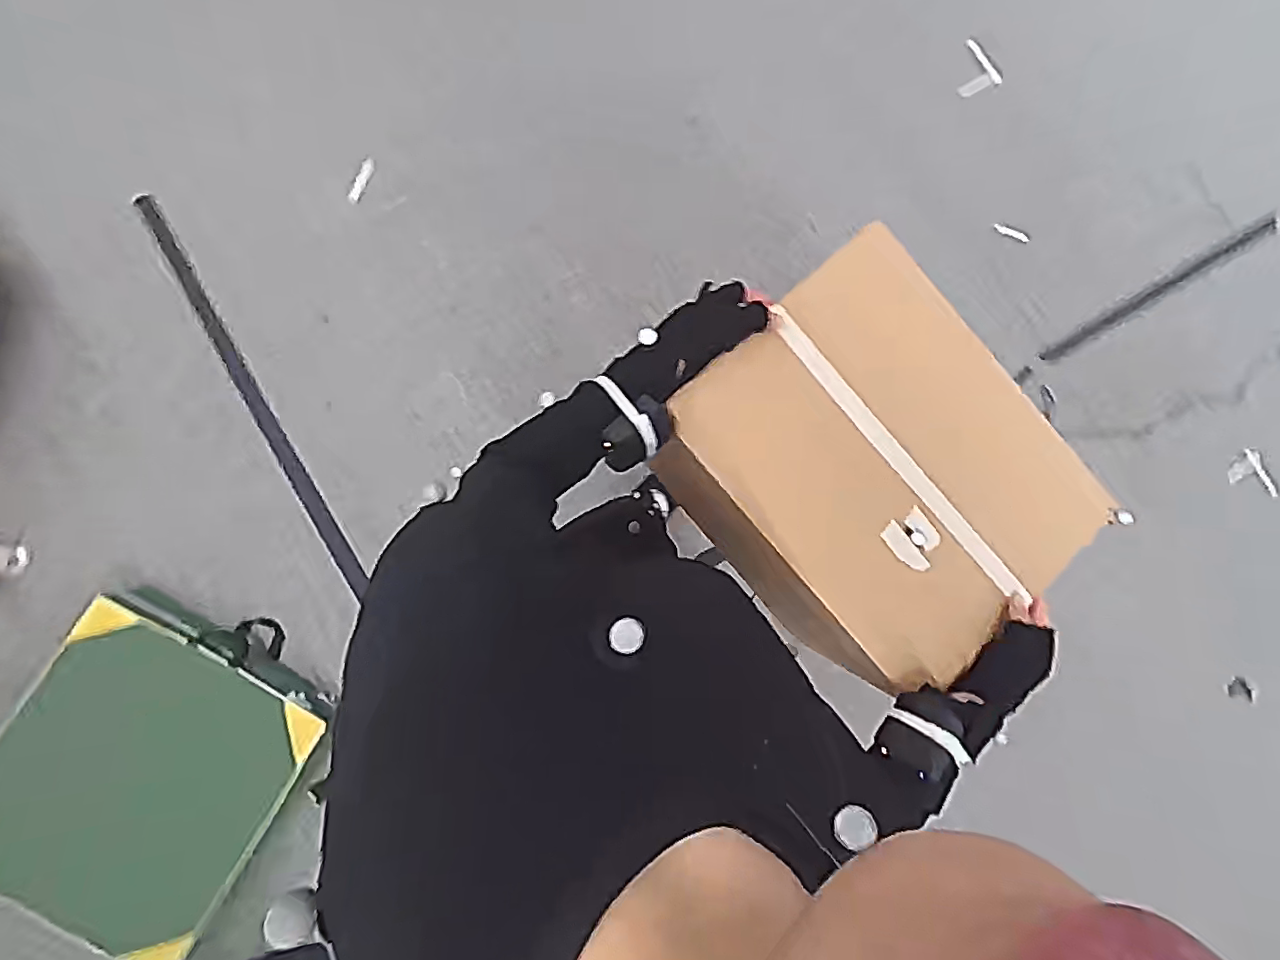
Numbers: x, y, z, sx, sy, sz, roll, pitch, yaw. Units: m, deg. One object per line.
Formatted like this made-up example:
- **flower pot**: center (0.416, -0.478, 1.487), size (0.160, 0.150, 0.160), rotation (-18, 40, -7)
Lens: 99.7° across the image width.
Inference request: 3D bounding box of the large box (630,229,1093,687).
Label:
- **large box**: center (0.241, -0.021, 0.717), size (0.320, 0.320, 0.408), rotation (-42, 93, -6)
